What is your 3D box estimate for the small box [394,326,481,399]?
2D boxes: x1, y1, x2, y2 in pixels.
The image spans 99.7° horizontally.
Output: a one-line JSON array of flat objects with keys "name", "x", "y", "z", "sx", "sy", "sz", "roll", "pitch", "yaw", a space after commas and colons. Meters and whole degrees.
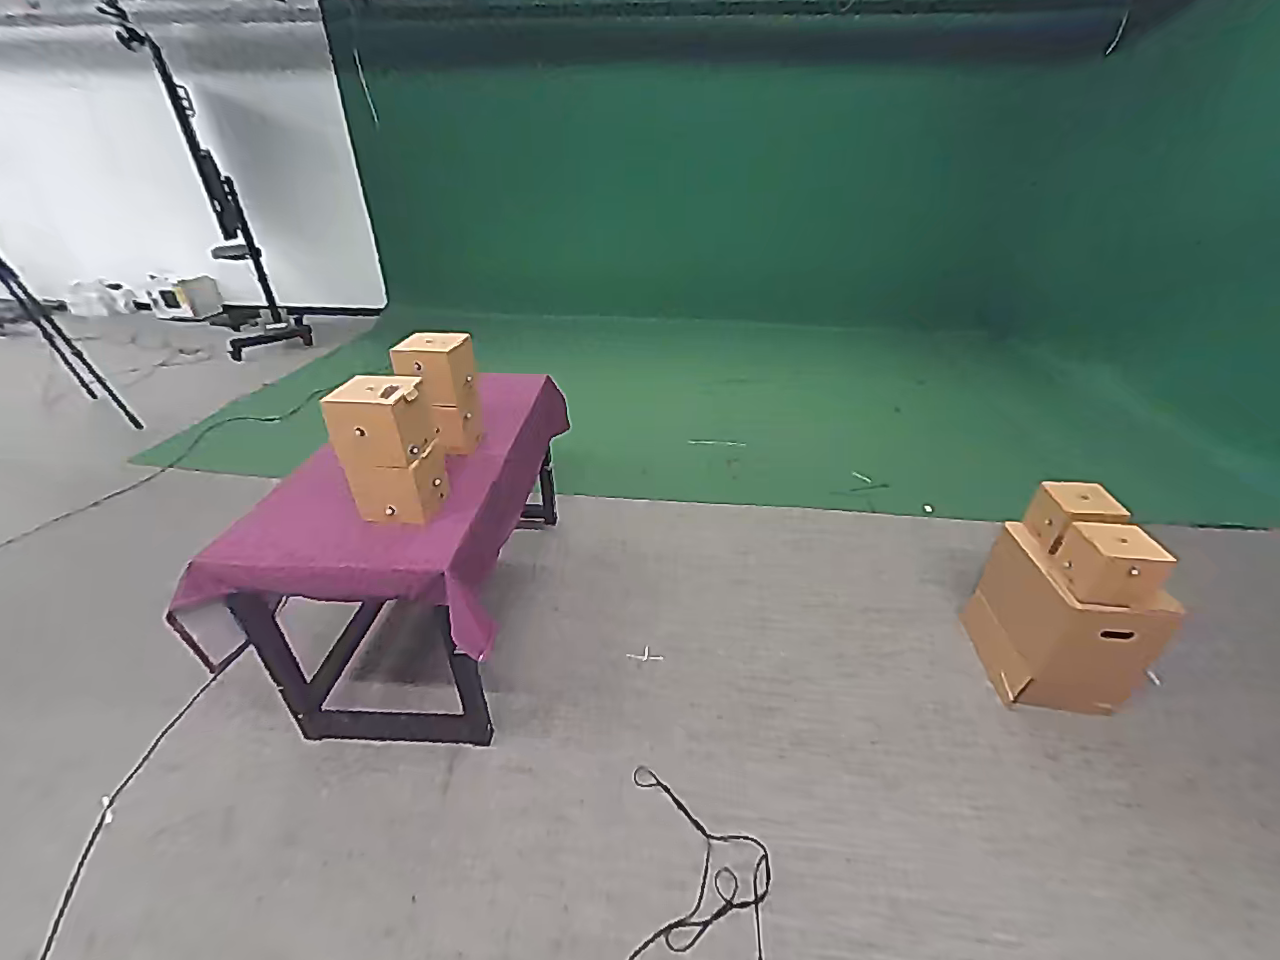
[{"name": "small box", "x": -0.595, "y": -0.351, "z": 1.610, "sx": 0.179, "sy": 0.176, "sz": 0.168, "roll": 5, "pitch": 33, "yaw": 6}]

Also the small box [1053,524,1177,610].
[{"name": "small box", "x": 1.329, "y": 0.248, "z": 1.529, "sx": 0.179, "sy": 0.176, "sz": 0.168, "roll": 5, "pitch": 32, "yaw": 6}]

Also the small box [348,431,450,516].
[{"name": "small box", "x": -0.612, "y": -0.021, "z": 1.402, "sx": 0.179, "sy": 0.176, "sz": 0.168, "roll": 4, "pitch": 32, "yaw": 4}]

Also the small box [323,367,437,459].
[{"name": "small box", "x": -0.619, "y": -0.162, "z": 1.316, "sx": 0.179, "sy": 0.176, "sz": 0.168, "roll": 3, "pitch": 32, "yaw": 6}]

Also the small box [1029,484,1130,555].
[{"name": "small box", "x": 1.377, "y": 0.132, "z": 1.714, "sx": 0.179, "sy": 0.176, "sz": 0.168, "roll": 4, "pitch": 35, "yaw": 6}]
